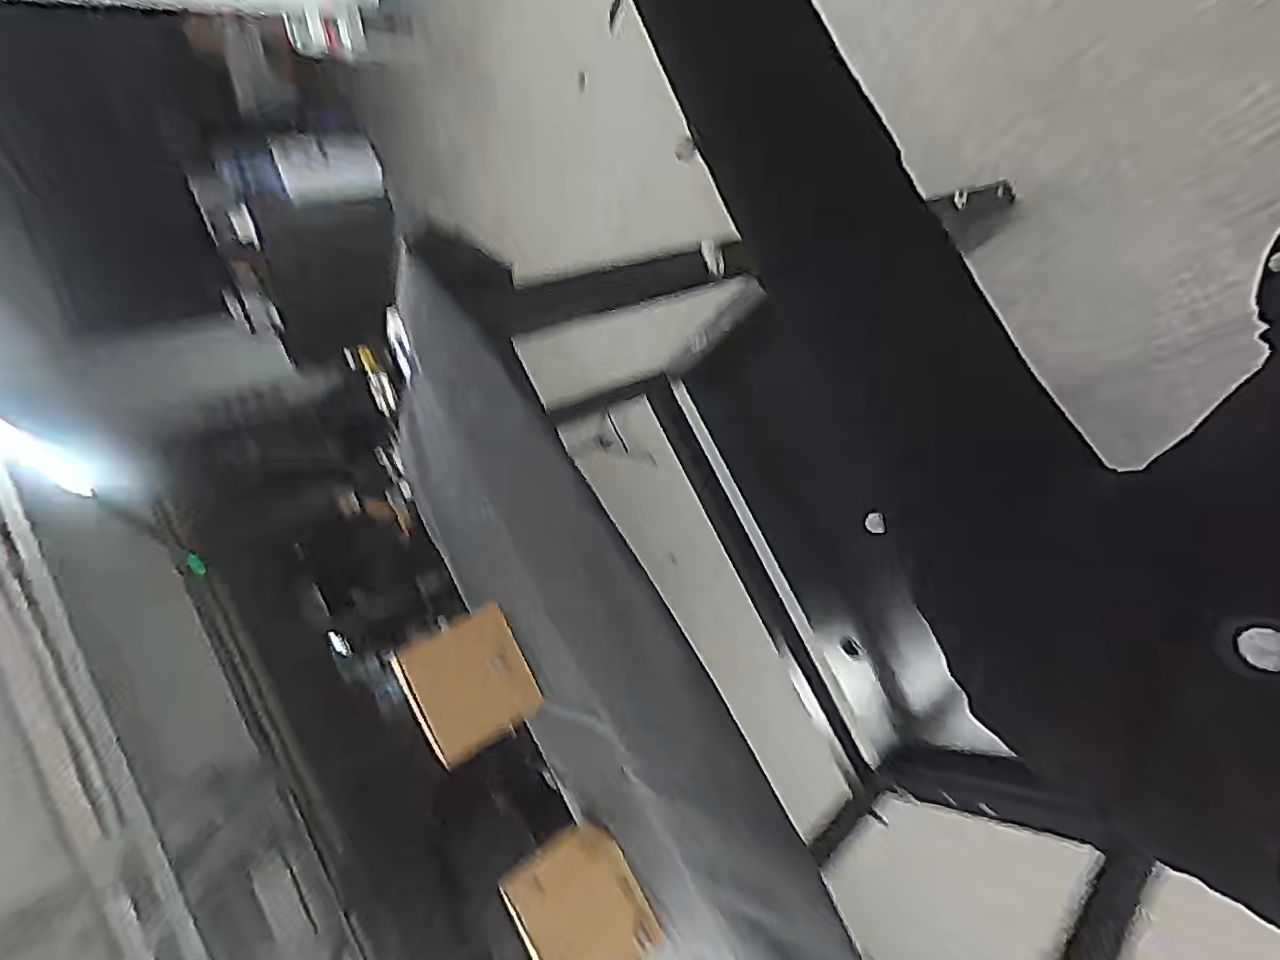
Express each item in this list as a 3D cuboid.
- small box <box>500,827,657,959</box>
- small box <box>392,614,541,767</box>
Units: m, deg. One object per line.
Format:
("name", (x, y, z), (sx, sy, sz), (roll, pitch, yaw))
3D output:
("small box", (-0.096, 0.692, 0.857), (0.168, 0.176, 0.179), (61, 149, 8))
("small box", (-0.291, 0.336, 0.900), (0.179, 0.176, 0.168), (62, 150, 5))
